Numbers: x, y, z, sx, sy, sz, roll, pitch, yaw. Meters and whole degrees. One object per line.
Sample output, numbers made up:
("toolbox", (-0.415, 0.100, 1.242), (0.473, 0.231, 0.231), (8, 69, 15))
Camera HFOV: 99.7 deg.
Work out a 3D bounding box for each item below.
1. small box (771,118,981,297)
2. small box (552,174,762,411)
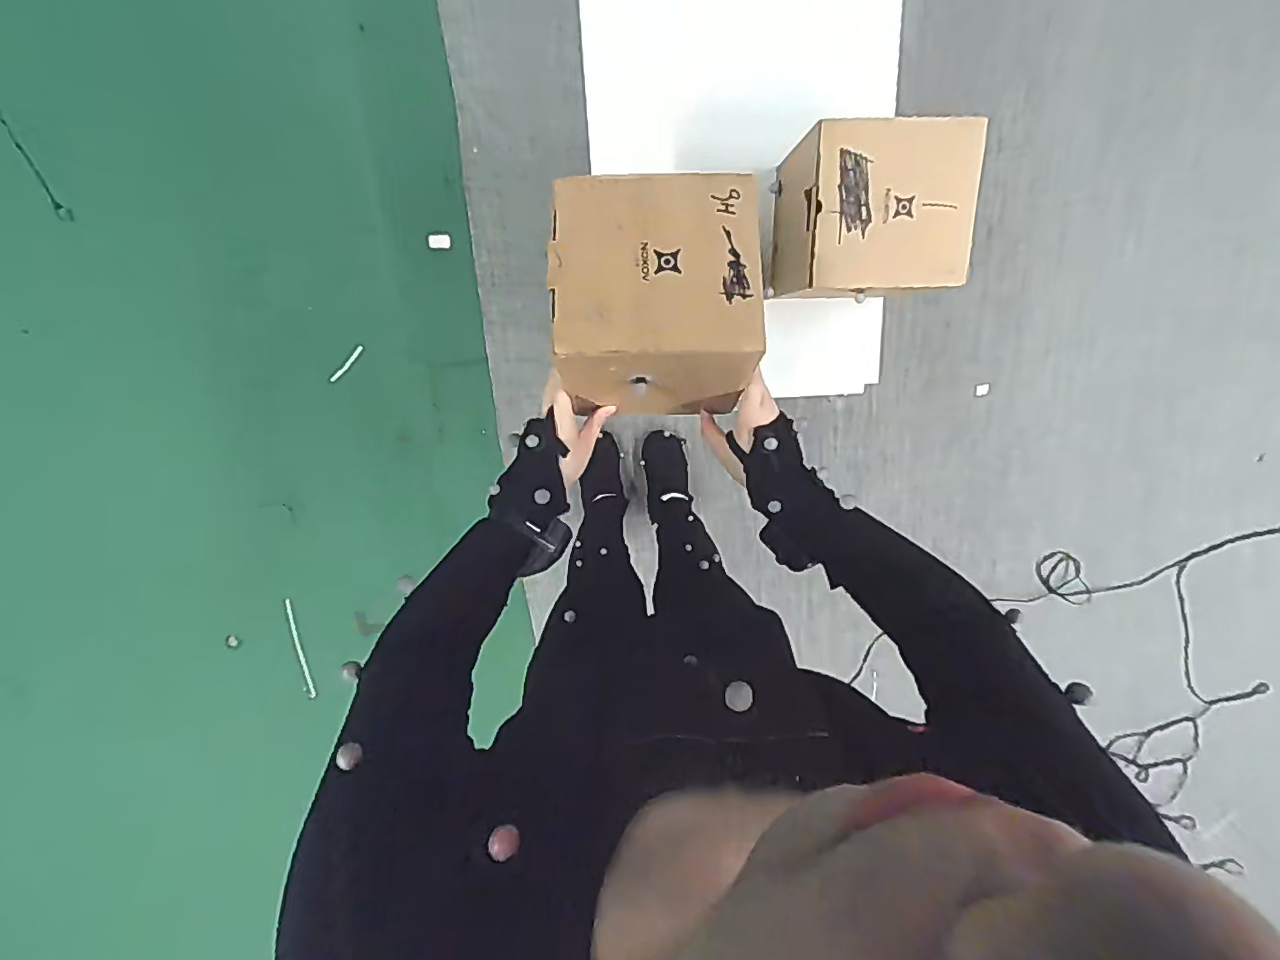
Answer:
("small box", (0.265, -0.313, 0.653), (0.179, 0.176, 0.168), (-2, 105, -2))
("small box", (0.014, -0.171, 0.538), (0.179, 0.176, 0.168), (-1, 79, -1))
